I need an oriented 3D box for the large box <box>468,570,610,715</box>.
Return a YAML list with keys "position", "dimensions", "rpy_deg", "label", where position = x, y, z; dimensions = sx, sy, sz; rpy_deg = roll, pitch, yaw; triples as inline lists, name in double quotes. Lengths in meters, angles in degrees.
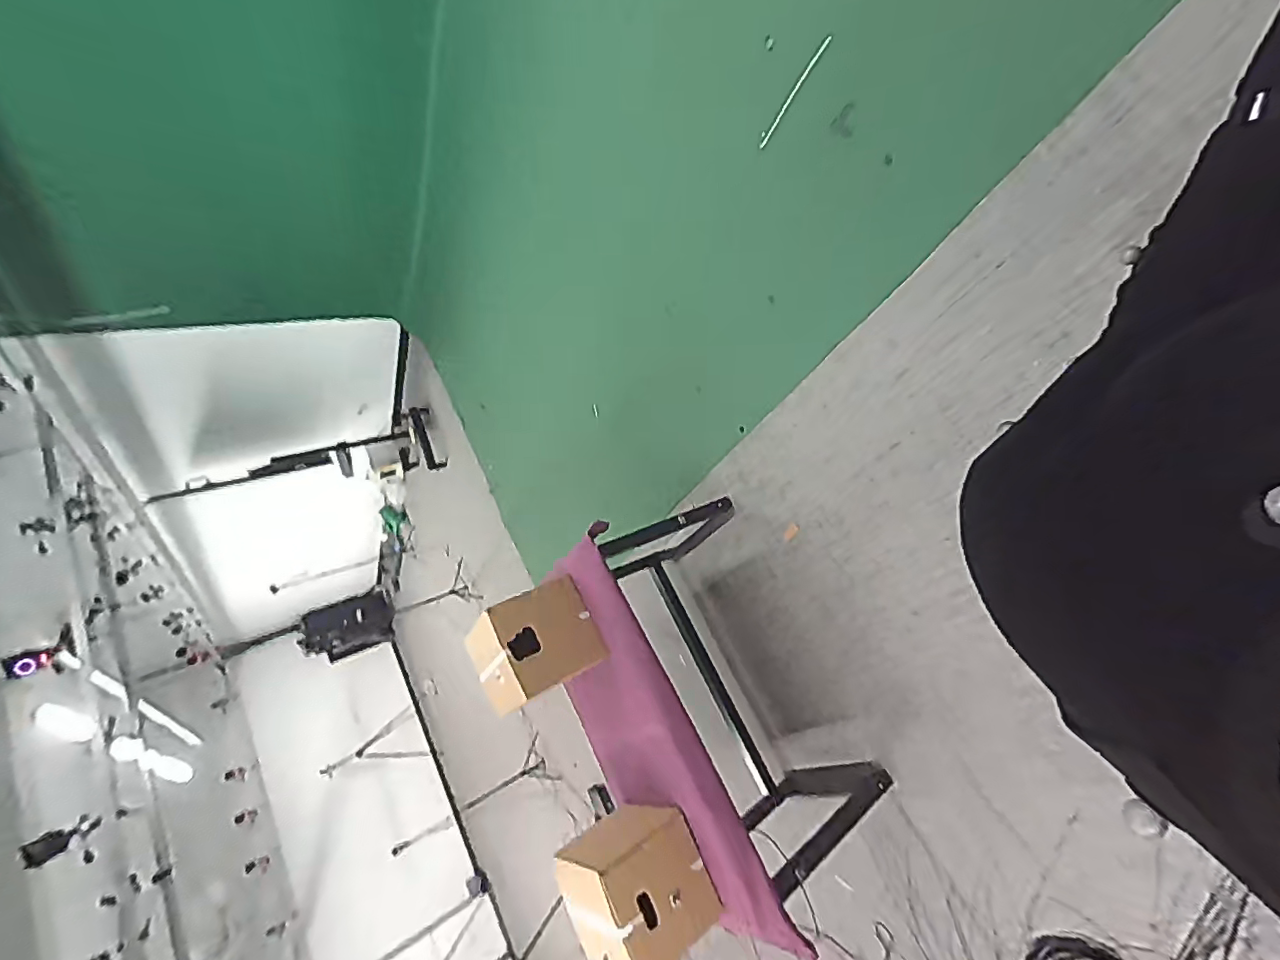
- position: [-0.360, 0.564, 1.877]
  dimensions: [0.320, 0.320, 0.408]
  rpy_deg: [60, 142, 15]
  label: "large box"
